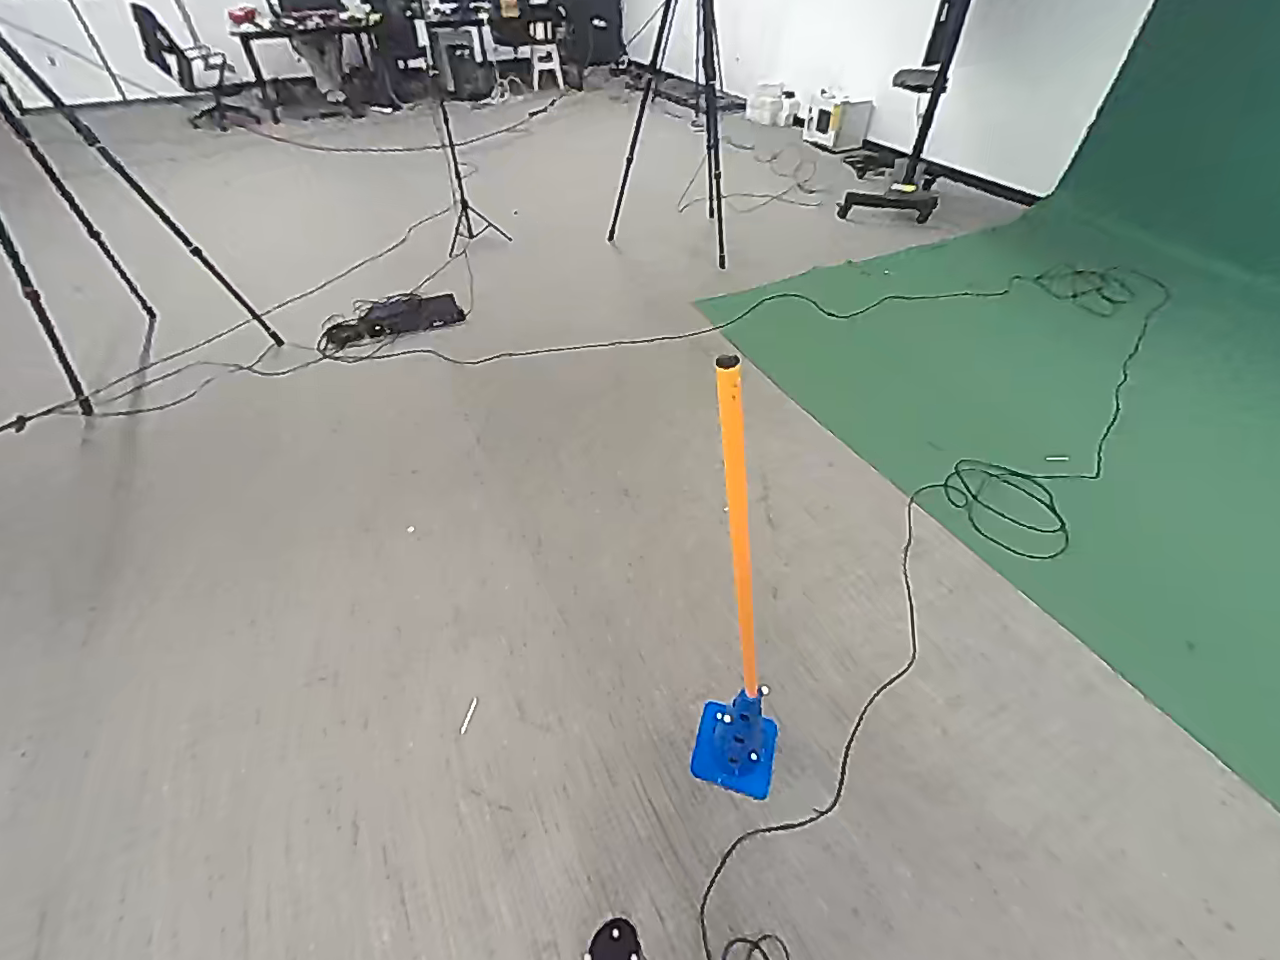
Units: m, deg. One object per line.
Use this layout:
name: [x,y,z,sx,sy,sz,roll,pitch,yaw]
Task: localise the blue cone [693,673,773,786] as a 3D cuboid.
blue cone: [0.234,0.558,1.267,0.193,0.380,0.192,11,48,13]
